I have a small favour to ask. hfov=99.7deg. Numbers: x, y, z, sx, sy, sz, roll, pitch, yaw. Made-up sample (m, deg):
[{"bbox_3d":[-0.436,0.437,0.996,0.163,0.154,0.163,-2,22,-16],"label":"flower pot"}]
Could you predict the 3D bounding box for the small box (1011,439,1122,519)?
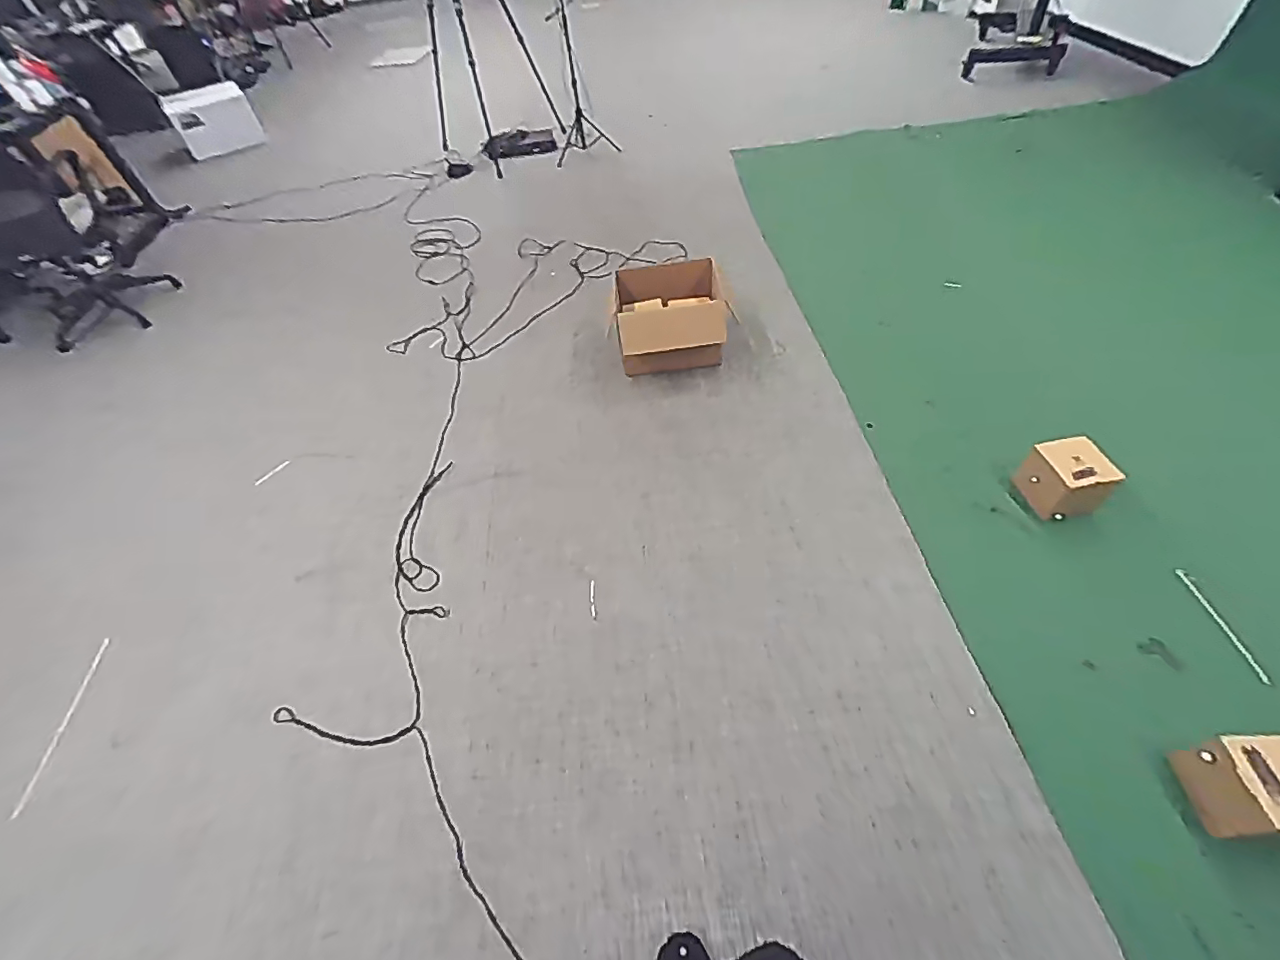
[{"bbox_3d":[1.277,0.004,1.634,0.168,0.176,0.179,-10,50,-1],"label":"small box"}]
